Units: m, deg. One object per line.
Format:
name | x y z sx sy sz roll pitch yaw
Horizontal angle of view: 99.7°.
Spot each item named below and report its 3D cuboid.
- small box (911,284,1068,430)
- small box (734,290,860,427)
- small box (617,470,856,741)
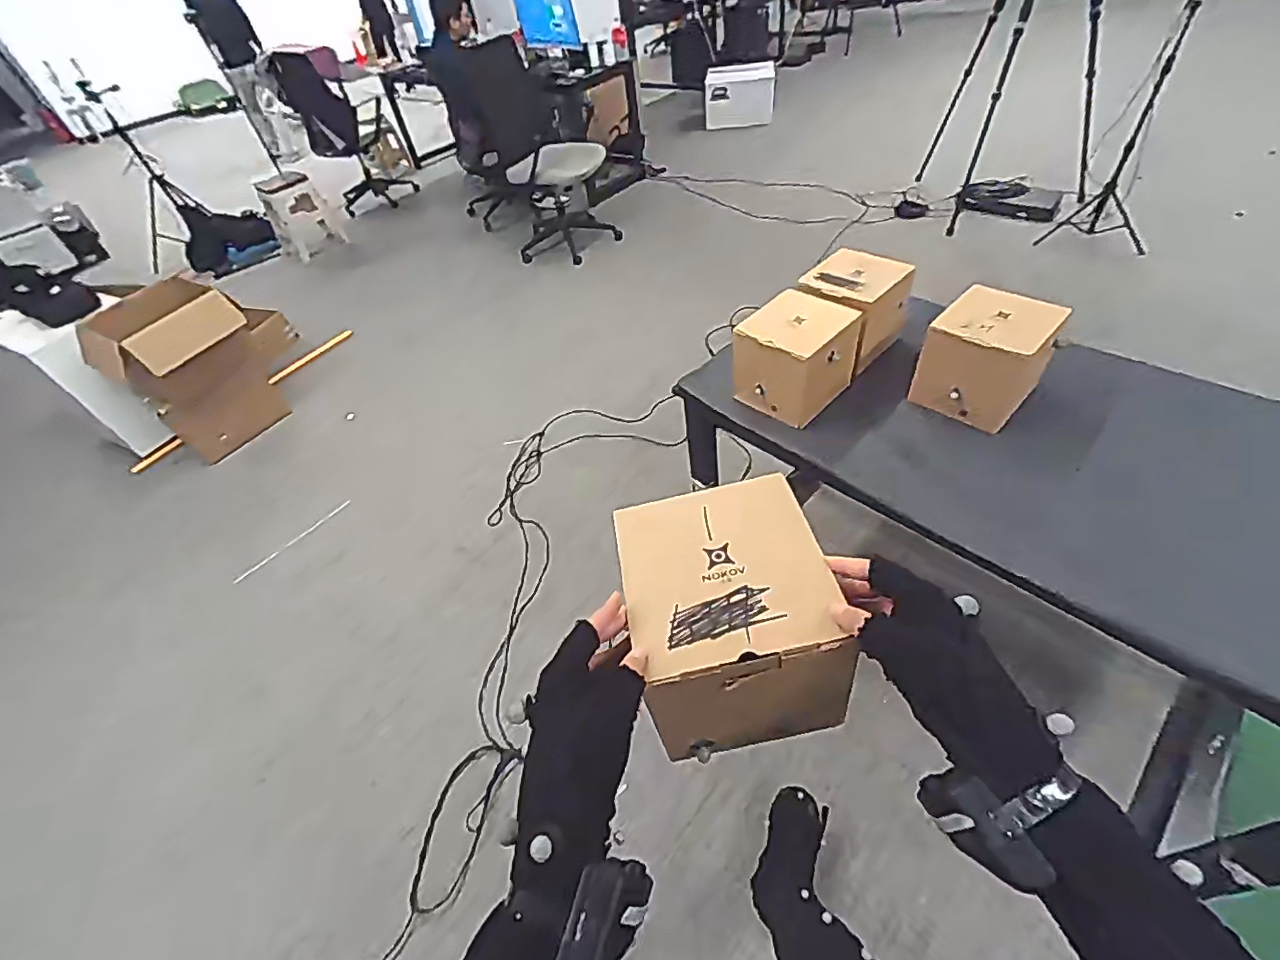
small box | 0.625 -0.224 0.989 0.179 0.176 0.168 -39 53 -23
small box | 0.298 -0.238 1.058 0.179 0.176 0.168 -39 53 -23
small box | 0.082 0.123 0.504 0.168 0.176 0.179 -13 44 1
